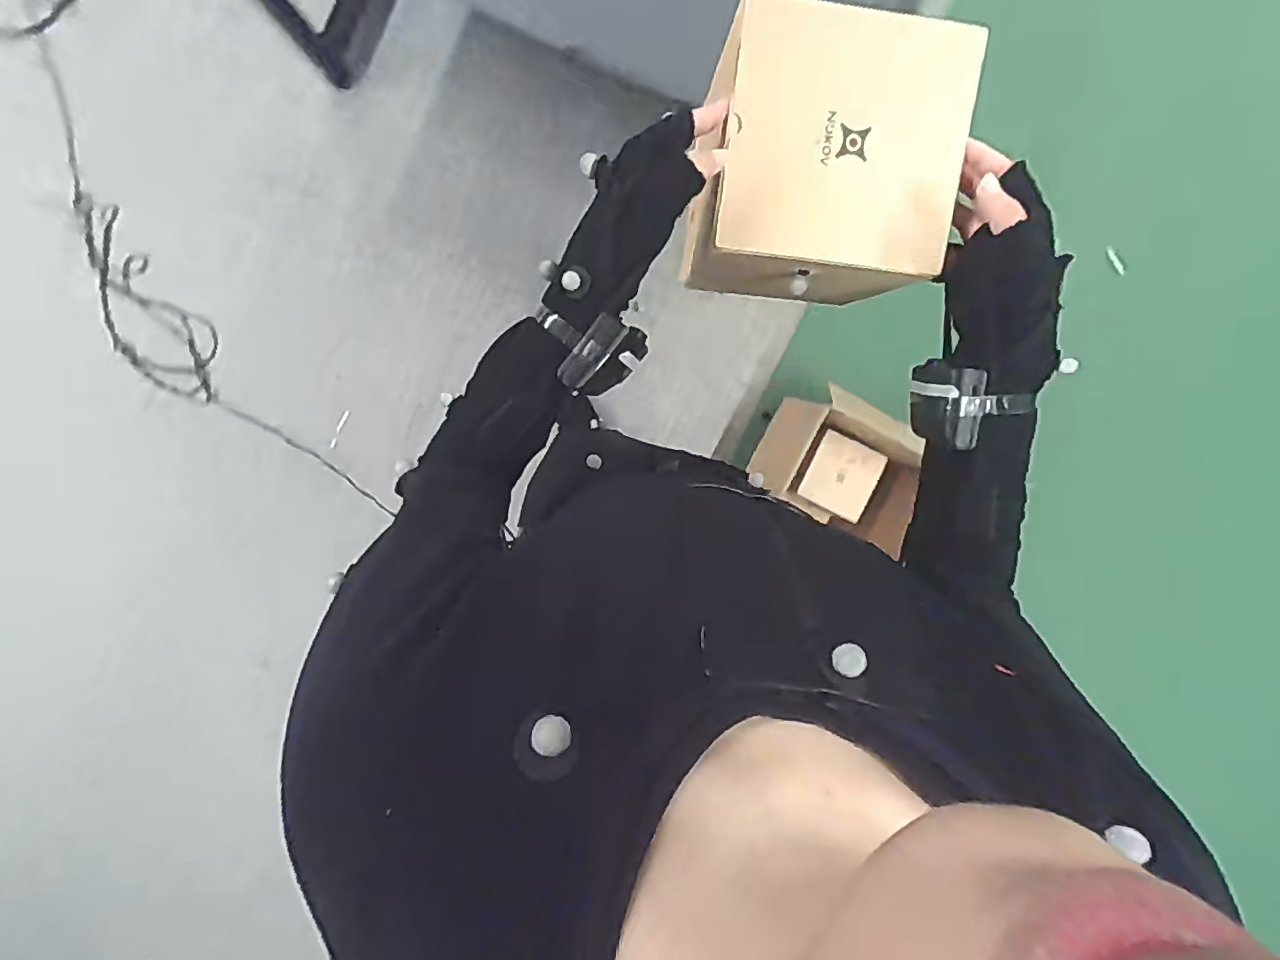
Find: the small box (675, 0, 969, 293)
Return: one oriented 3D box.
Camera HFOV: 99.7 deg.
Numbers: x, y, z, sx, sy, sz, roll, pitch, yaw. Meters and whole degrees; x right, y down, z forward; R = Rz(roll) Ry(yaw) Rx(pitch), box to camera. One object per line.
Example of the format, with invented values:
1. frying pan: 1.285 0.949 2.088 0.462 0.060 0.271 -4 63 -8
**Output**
1. small box: 0.131 -0.260 0.460 0.179 0.176 0.168 4 101 -3
